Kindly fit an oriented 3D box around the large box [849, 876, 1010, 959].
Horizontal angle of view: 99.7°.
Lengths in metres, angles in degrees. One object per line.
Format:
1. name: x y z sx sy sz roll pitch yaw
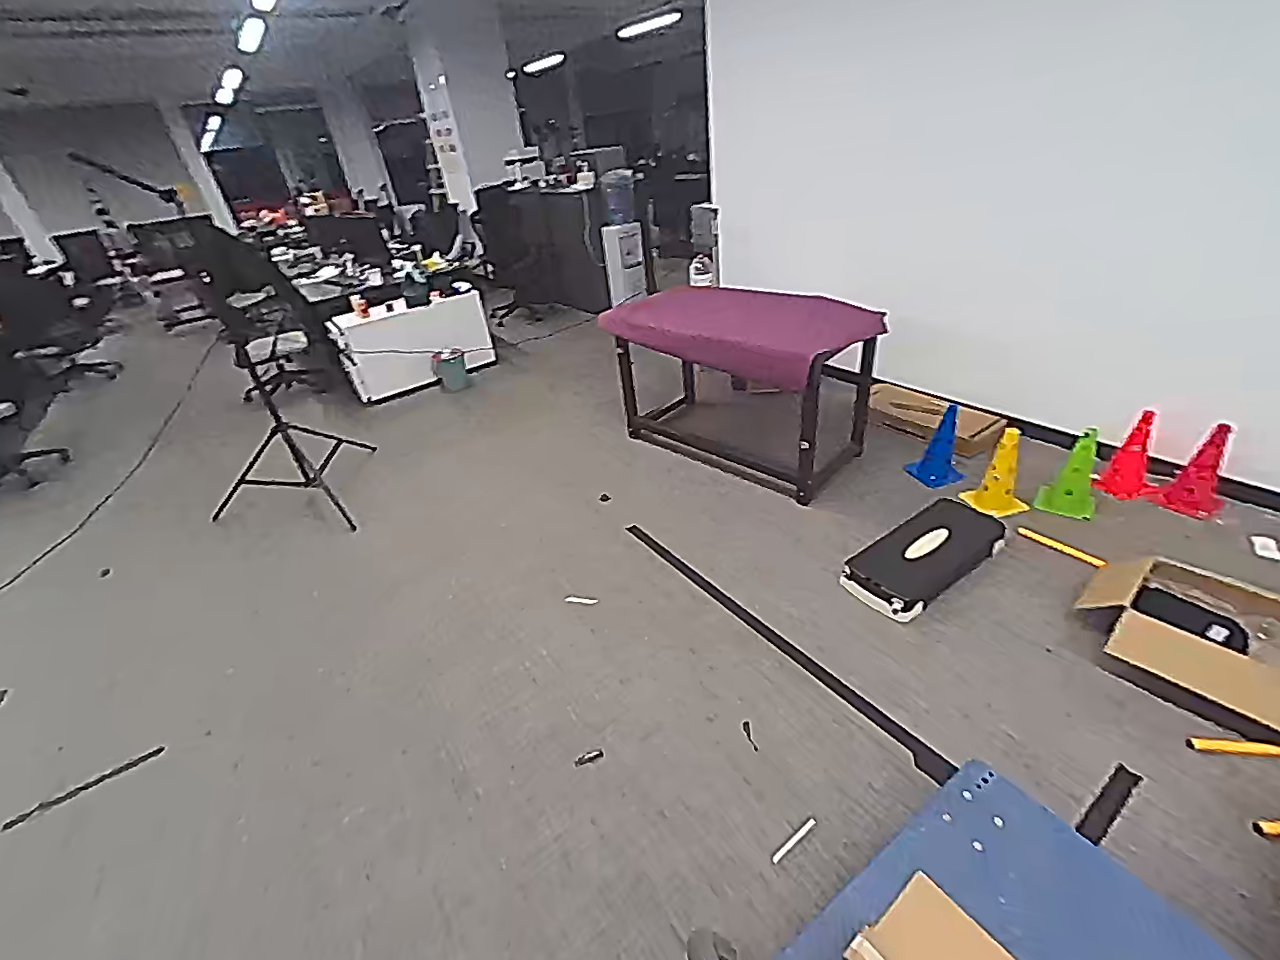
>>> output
1. large box: 0.462 0.901 0.760 0.320 0.320 0.408 -27 39 -27
